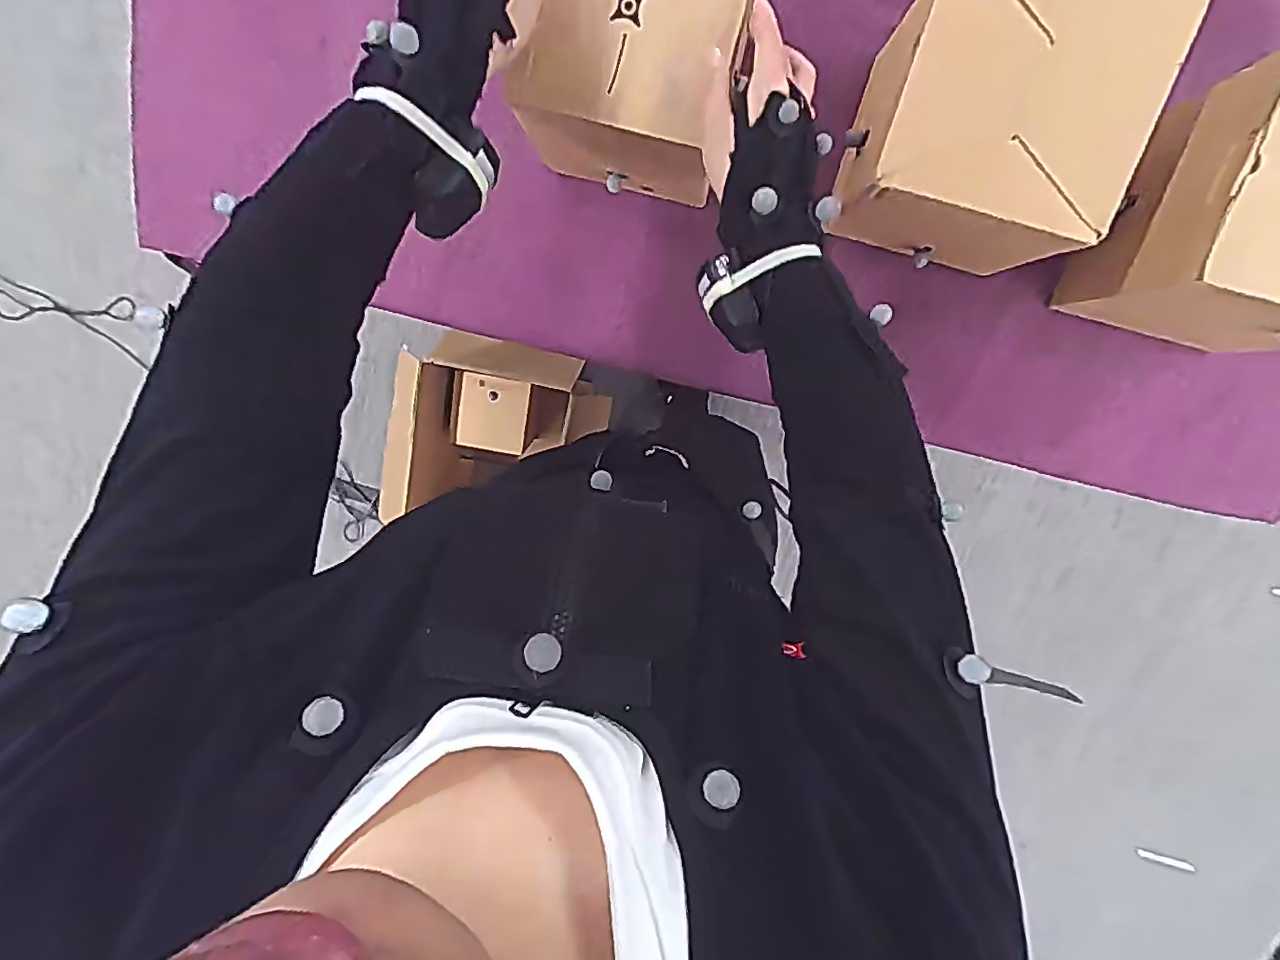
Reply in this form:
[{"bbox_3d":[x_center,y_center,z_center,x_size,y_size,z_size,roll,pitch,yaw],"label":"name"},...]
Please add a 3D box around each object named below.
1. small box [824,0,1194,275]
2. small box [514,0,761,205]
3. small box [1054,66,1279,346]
[{"bbox_3d":[0.286,-0.295,0.463,0.179,0.176,0.168,17,102,2],"label":"small box"},{"bbox_3d":[0.008,-0.371,0.474,0.168,0.176,0.179,15,104,2],"label":"small box"},{"bbox_3d":[0.519,-0.216,0.460,0.179,0.176,0.168,16,101,1],"label":"small box"}]
